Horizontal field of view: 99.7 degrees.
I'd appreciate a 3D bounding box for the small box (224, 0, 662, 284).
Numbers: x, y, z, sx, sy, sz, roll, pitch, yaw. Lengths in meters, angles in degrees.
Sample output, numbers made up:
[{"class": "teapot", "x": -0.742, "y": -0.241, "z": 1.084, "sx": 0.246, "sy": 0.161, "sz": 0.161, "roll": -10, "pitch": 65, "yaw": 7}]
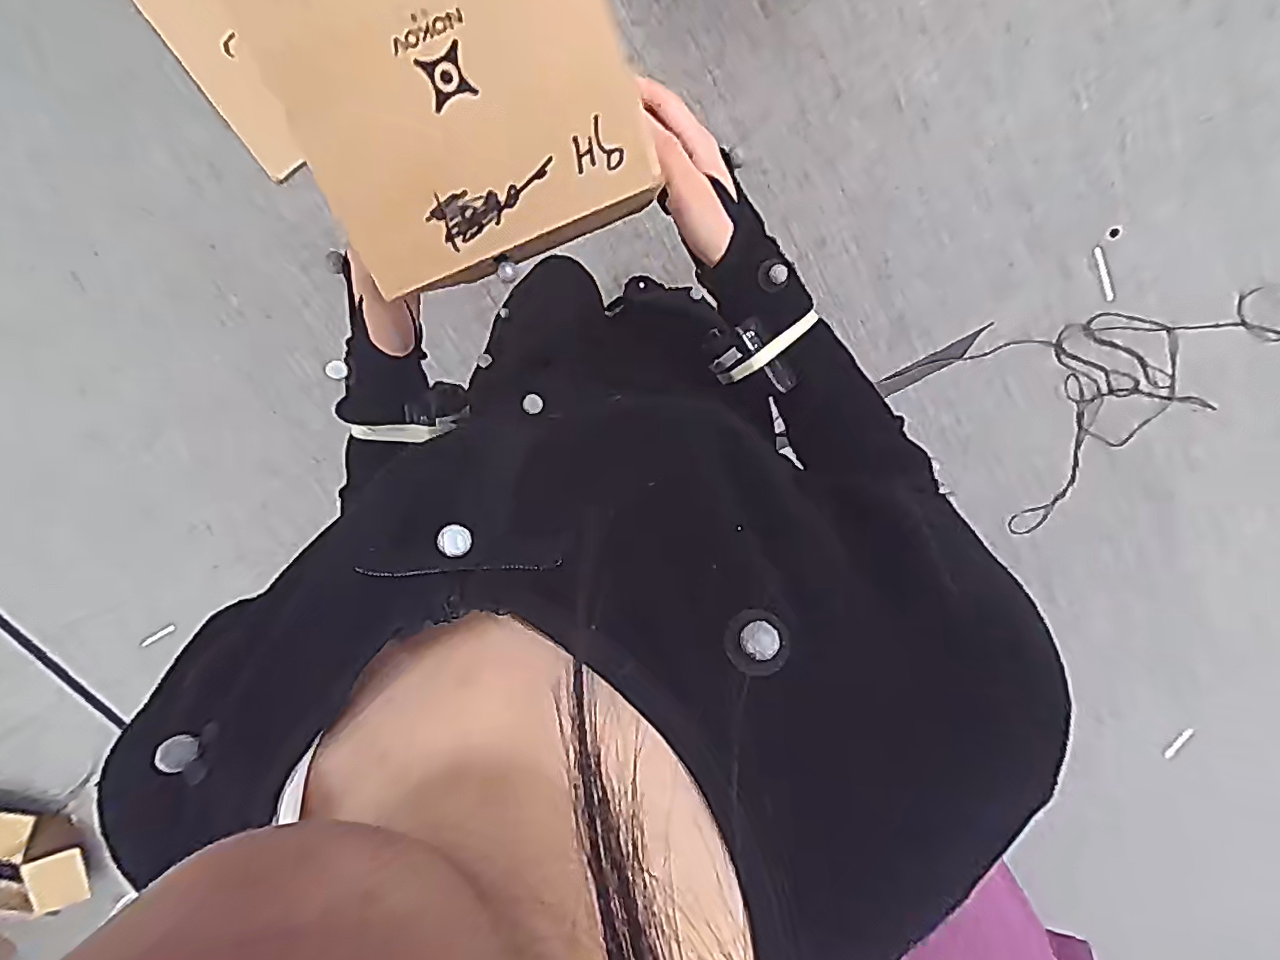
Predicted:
[{"class": "small box", "x": -0.096, "y": -0.233, "z": 0.324, "sx": 0.168, "sy": 0.176, "sz": 0.179, "roll": -20, "pitch": 112, "yaw": 7}]
